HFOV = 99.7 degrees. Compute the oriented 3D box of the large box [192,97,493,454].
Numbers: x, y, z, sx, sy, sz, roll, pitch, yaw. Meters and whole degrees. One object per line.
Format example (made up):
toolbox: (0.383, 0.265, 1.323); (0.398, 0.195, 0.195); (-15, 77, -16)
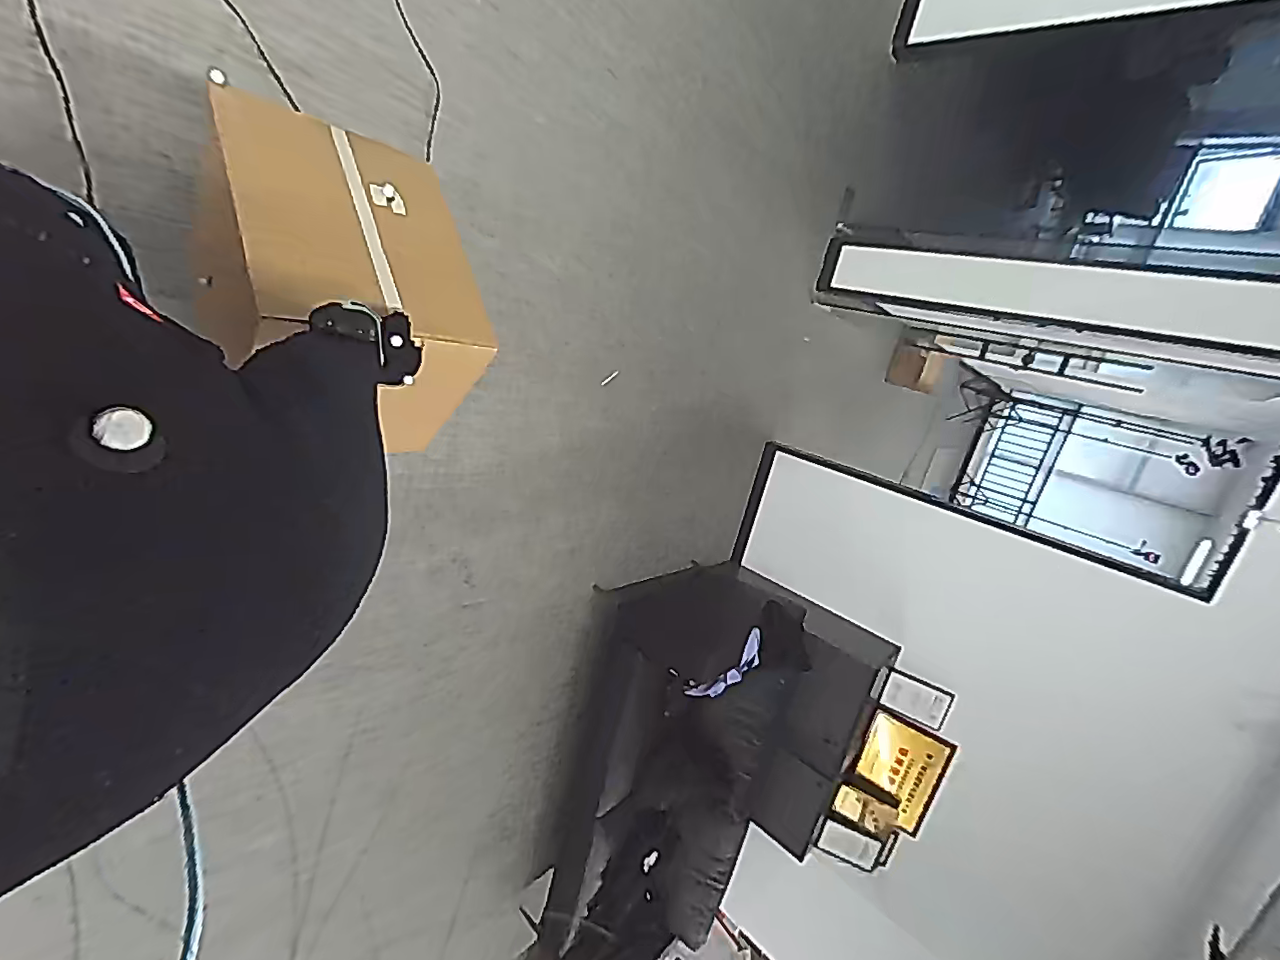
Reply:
large box: (-0.500, -0.293, 0.886); (0.320, 0.408, 0.320); (-5, 155, -47)
